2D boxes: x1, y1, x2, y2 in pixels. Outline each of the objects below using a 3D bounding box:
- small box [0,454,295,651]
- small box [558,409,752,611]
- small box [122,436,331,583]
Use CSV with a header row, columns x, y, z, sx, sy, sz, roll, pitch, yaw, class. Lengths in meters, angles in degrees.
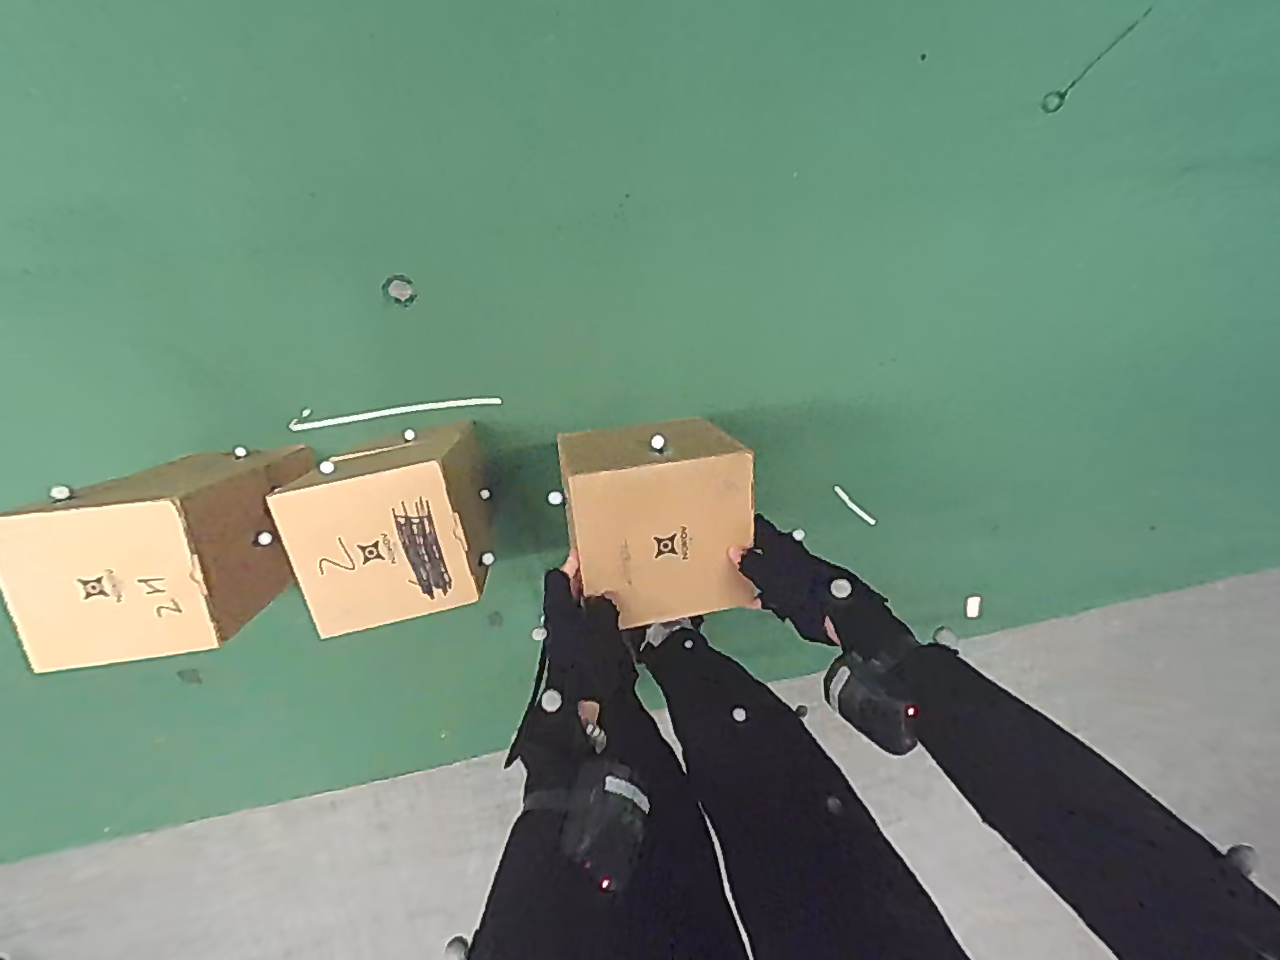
x,y,z,sx,sy,sz,roll,pitch,yaw,class
-0.539,0.070,0.618,0.179,0.176,0.168,-6,105,-8,small box
0.009,0.020,0.598,0.179,0.176,0.168,-6,108,-10,small box
-0.572,0.041,0.777,0.168,0.176,0.179,-5,105,-8,small box
